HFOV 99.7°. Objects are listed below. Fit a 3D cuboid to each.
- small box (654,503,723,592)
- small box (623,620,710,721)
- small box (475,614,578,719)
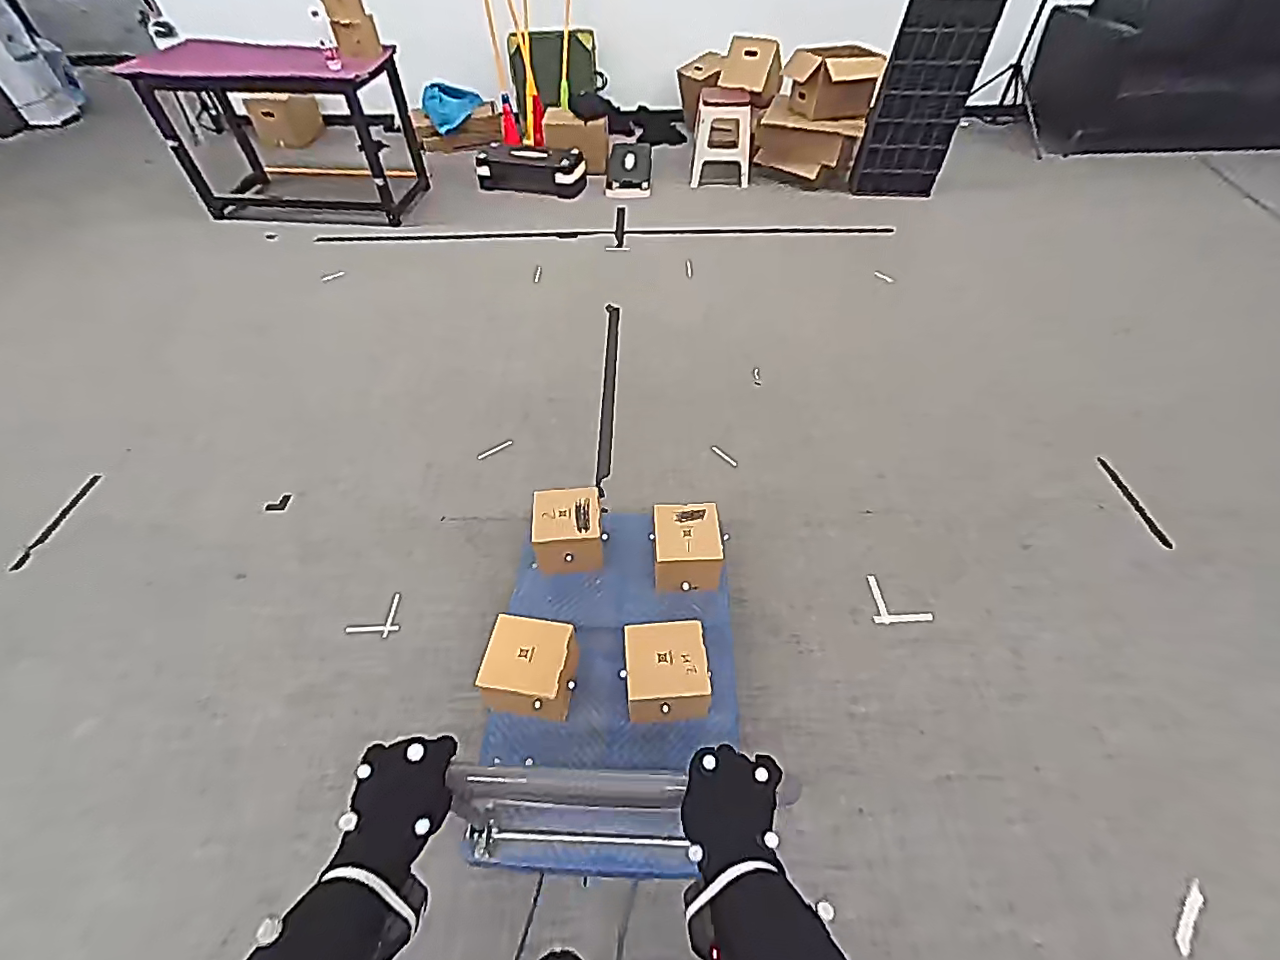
[{"bbox_3d":[0.121,0.178,1.430,0.168,0.176,0.179,-2,51,0],"label":"small box"},{"bbox_3d":[0.056,0.433,1.219,0.179,0.176,0.168,-3,50,-2],"label":"small box"},{"bbox_3d":[-0.248,0.426,1.230,0.179,0.176,0.168,7,50,5],"label":"small box"}]
